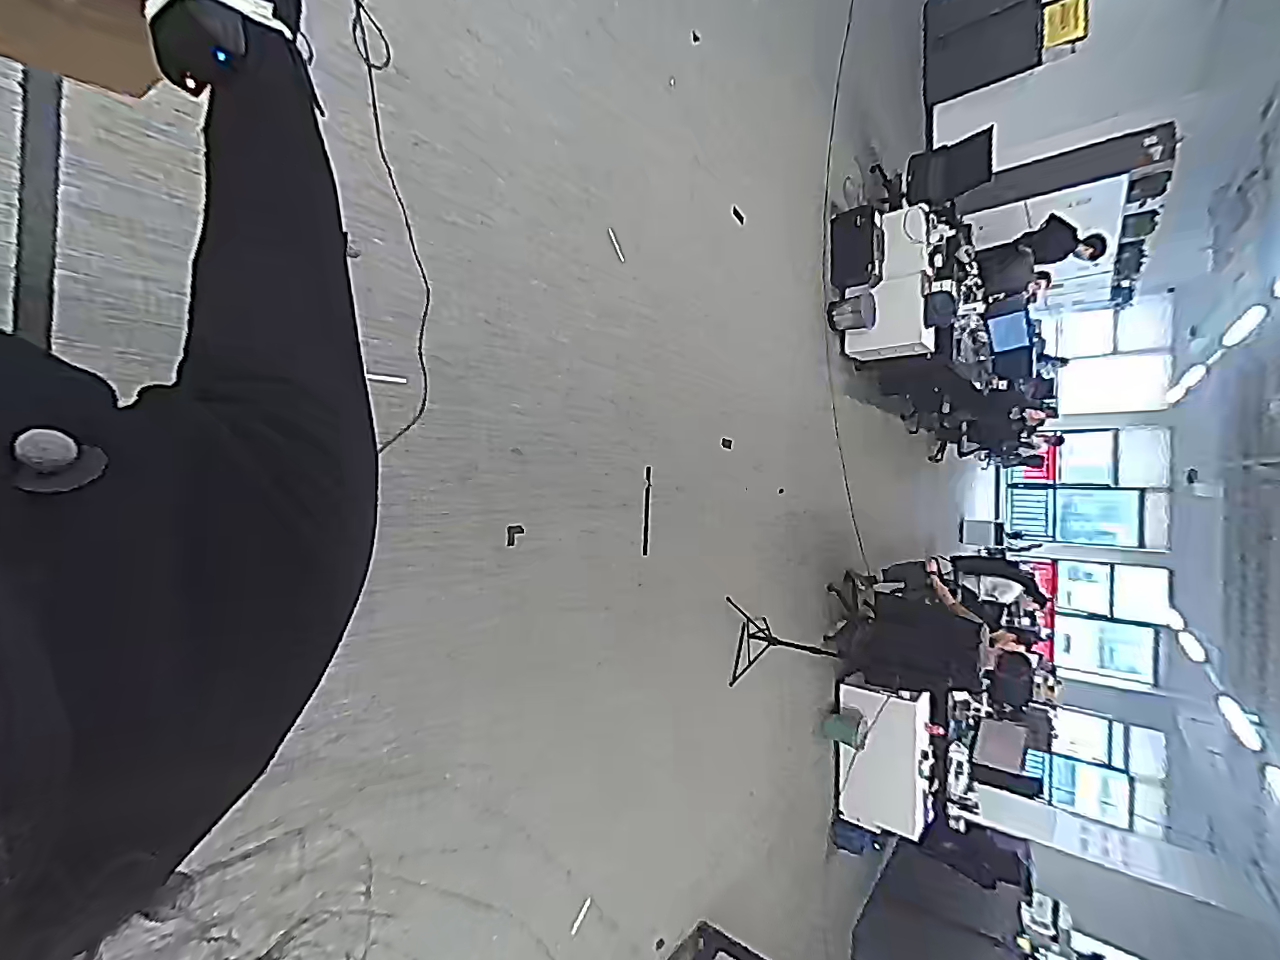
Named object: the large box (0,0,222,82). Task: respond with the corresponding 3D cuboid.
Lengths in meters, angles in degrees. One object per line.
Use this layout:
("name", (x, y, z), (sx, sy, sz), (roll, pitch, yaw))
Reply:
("large box", (-0.554, -0.520, 0.325), (0.408, 0.320, 0.320), (-11, 114, -50))
